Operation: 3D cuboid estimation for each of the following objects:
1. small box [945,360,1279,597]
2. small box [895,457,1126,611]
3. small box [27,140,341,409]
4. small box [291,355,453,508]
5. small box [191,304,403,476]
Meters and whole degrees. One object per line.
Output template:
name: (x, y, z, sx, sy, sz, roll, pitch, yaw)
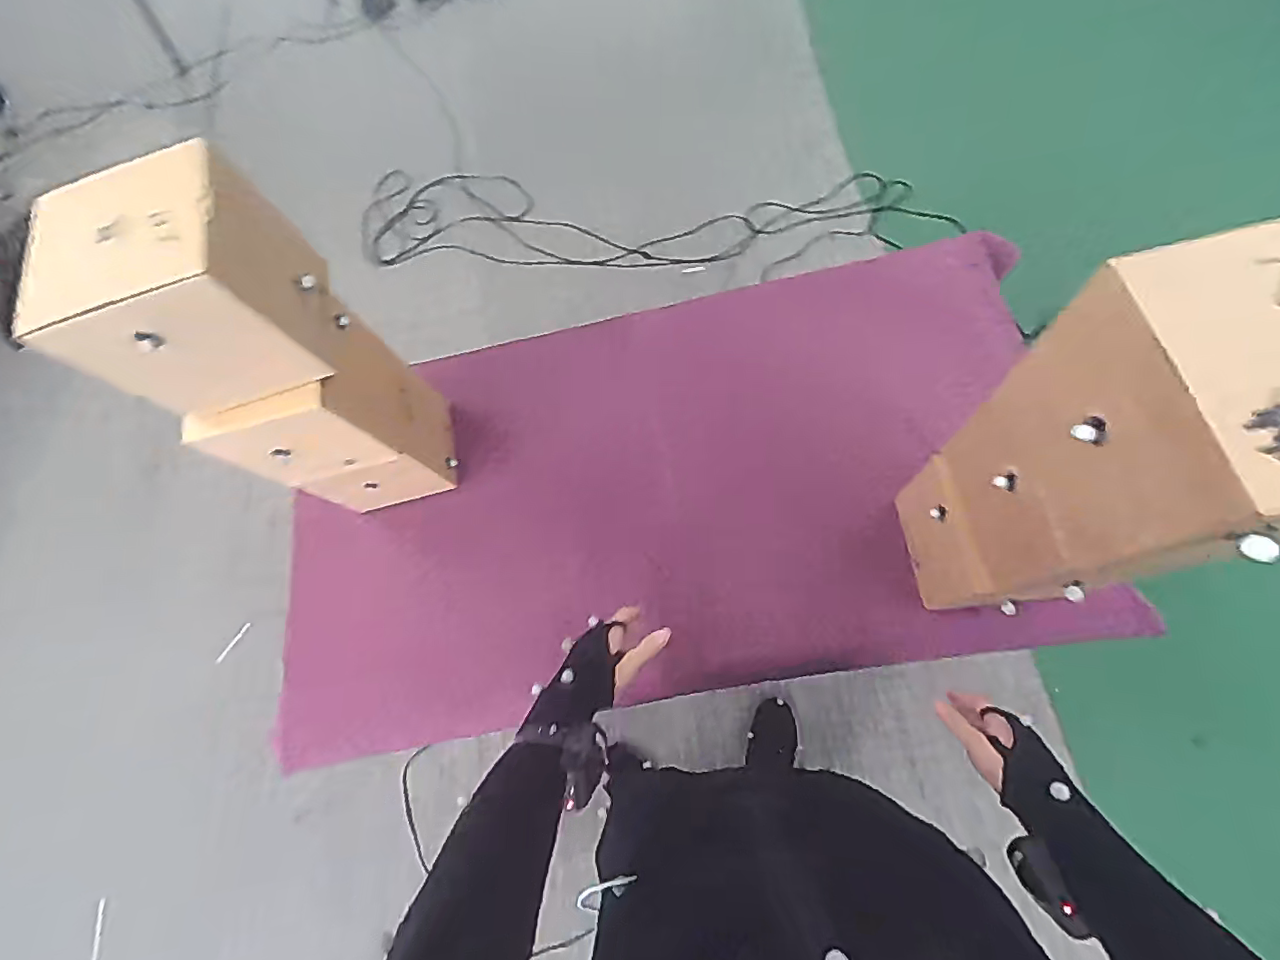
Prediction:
small box: (0.429, 0.011, 0.530, 0.168, 0.176, 0.179, -8, 70, 8)
small box: (0.450, 0.068, 0.681, 0.179, 0.176, 0.168, -7, 69, 6)
small box: (-0.443, -0.194, 0.555, 0.179, 0.176, 0.168, -17, 70, 2)
small box: (-0.411, -0.068, 0.855, 0.179, 0.176, 0.168, -14, 70, 4)
small box: (-0.428, -0.115, 0.701, 0.168, 0.176, 0.179, -13, 70, 4)
